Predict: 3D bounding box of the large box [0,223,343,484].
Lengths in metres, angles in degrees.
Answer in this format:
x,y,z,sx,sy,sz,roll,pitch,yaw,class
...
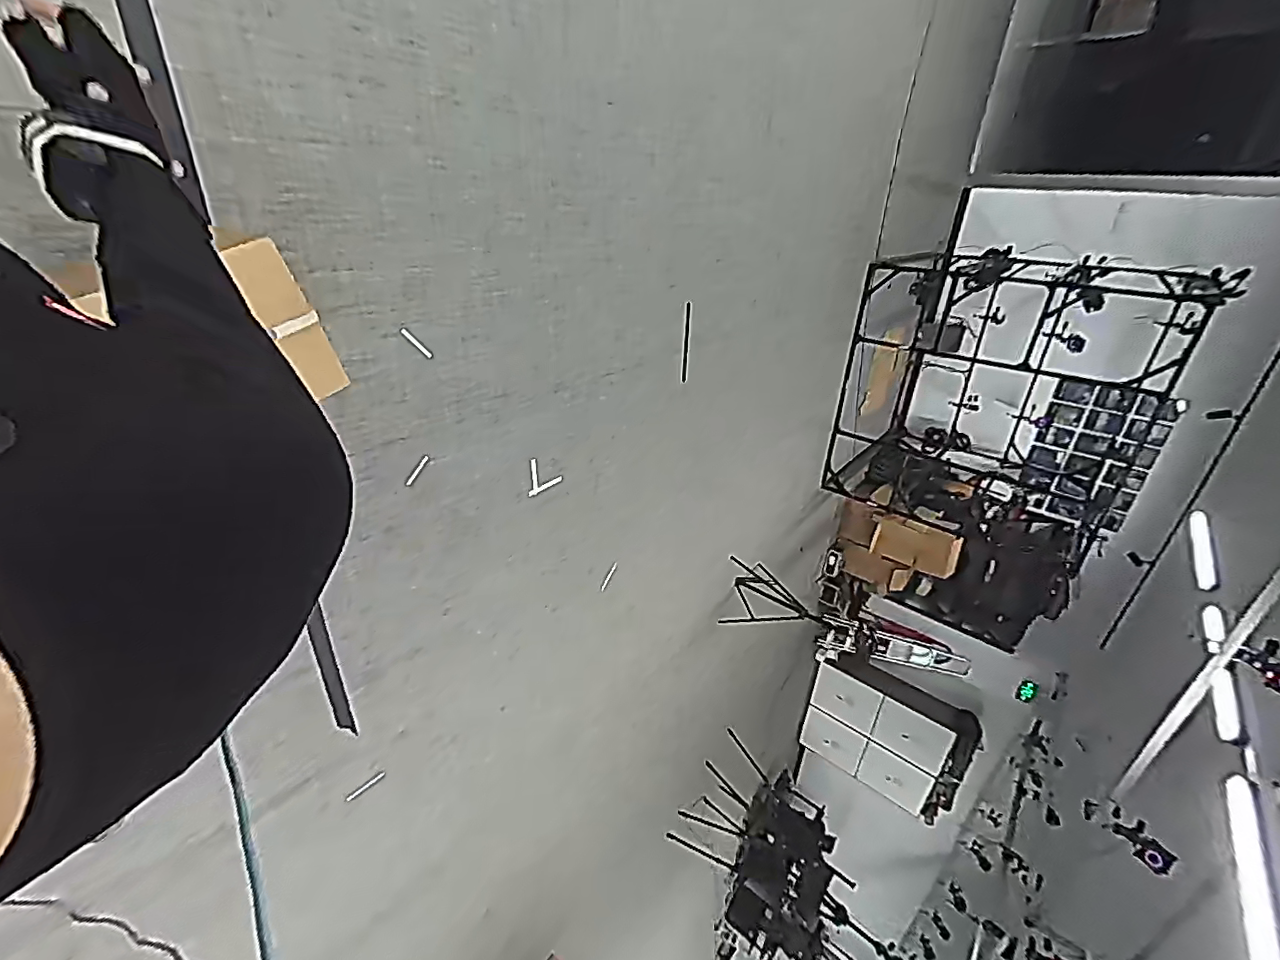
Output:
x,y,z,sx,sy,sz,roll,pitch,yaw,class
-0.899,-0.268,1.056,0.408,0.320,0.320,-42,139,-32,large box
